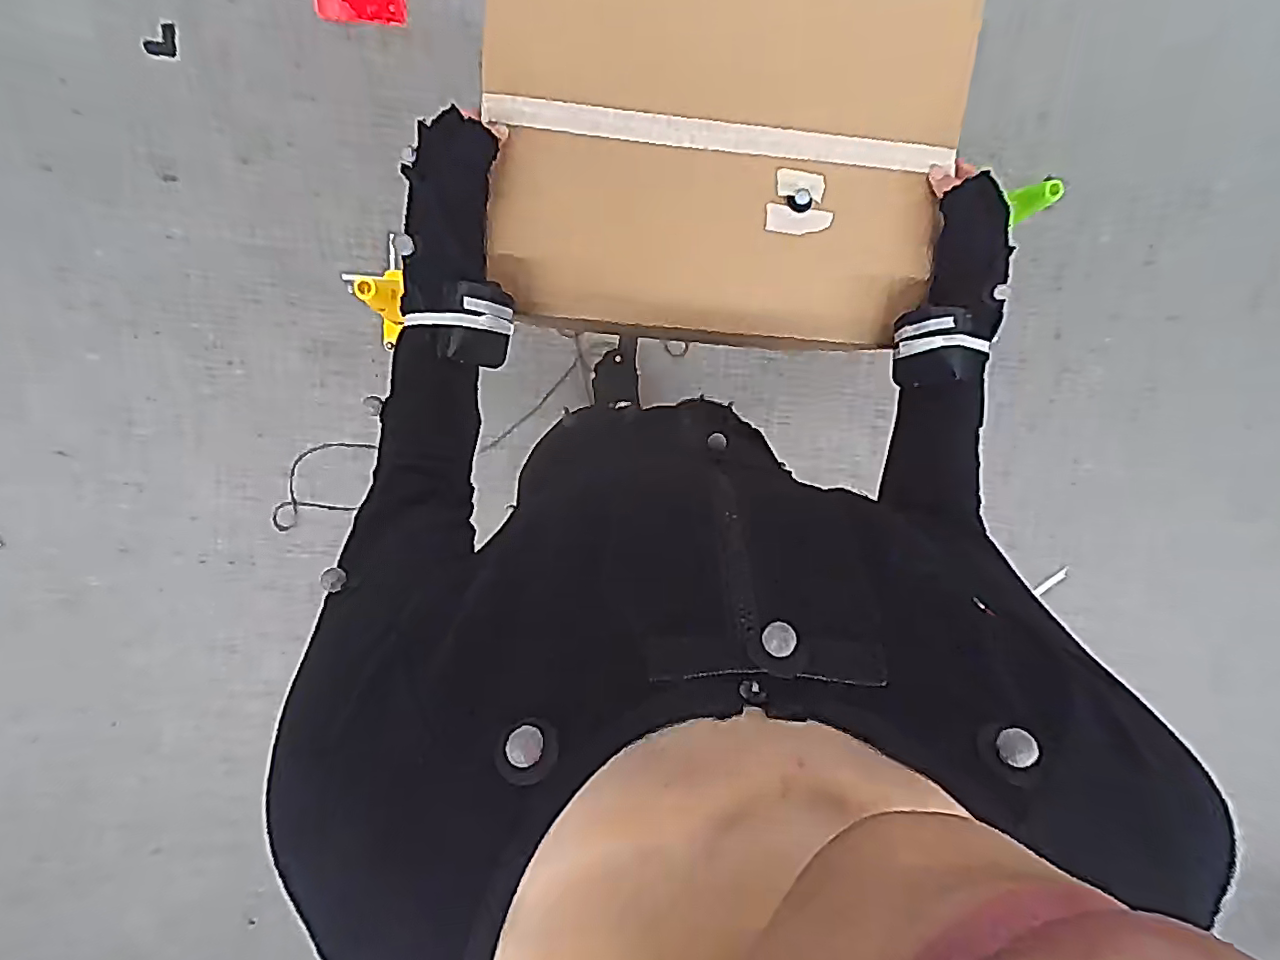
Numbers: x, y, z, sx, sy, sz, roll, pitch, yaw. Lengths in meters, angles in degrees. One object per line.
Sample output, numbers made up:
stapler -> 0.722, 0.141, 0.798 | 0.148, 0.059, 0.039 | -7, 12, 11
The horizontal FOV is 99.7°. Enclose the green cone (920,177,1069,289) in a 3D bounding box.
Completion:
green cone -> 0.810, -0.602, 1.244 | 0.202, 0.368, 0.200 | -33, 101, 0

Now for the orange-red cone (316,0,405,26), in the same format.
orange-red cone -> -0.627, -1.115, 1.058 | 0.198, 0.360, 0.199 | 2, 101, -3

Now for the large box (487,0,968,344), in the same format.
large box -> 0.057, -0.327, 0.607 | 0.408, 0.320, 0.320 | 3, 103, -6
